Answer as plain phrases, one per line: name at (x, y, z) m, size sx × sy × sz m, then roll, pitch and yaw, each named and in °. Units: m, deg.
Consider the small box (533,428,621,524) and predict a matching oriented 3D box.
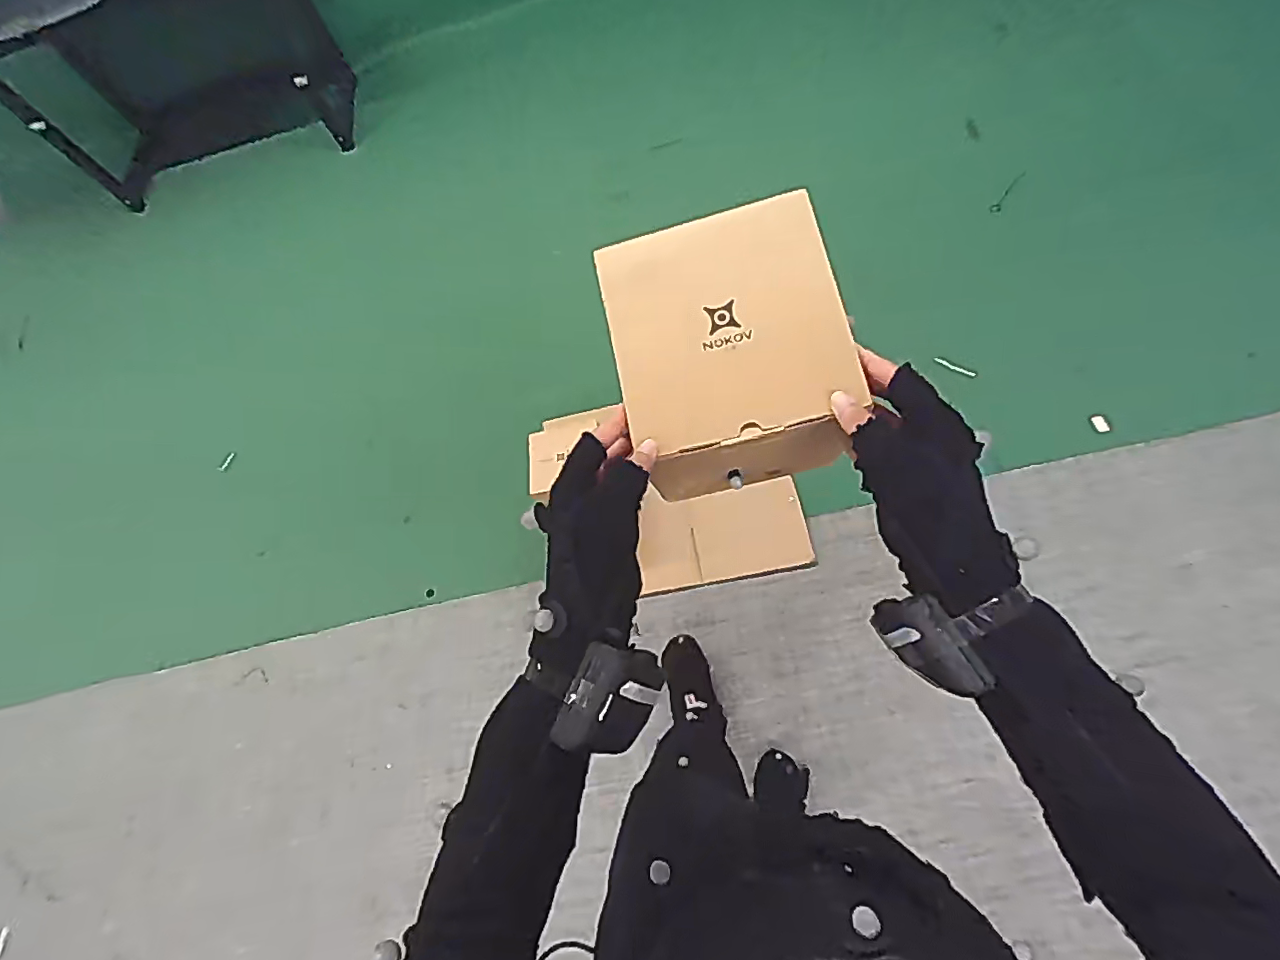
small box at (-0.150, -0.005, 1.331) m, size 0.179 × 0.176 × 0.168 m, roll -11°, pitch 63°, yaw 9°
